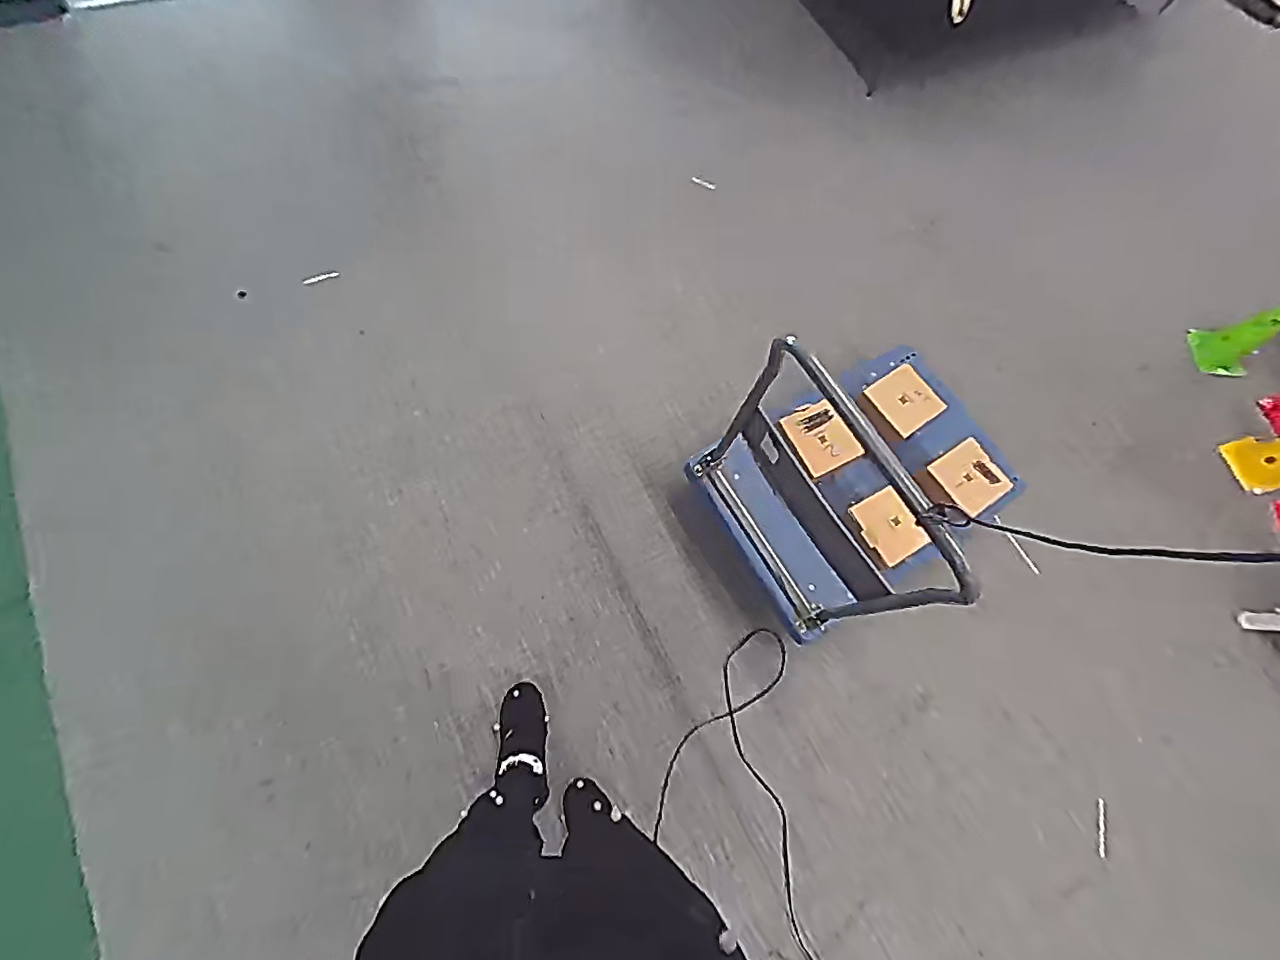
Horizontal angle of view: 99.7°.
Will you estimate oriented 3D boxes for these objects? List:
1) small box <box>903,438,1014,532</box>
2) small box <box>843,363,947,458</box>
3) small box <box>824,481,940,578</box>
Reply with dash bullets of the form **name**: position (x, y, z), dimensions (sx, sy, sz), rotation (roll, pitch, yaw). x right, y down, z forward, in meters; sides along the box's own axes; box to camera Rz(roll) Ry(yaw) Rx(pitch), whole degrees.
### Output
- **small box**: position (0.839, 0.021, 1.455), dimensions (0.179, 0.176, 0.168), rotation (-30, 75, -16)
- **small box**: position (0.699, -0.187, 1.515), dimensions (0.179, 0.176, 0.168), rotation (-32, 77, -17)
- **small box**: position (0.611, 0.132, 1.386), dimensions (0.179, 0.176, 0.168), rotation (-27, 75, -15)
